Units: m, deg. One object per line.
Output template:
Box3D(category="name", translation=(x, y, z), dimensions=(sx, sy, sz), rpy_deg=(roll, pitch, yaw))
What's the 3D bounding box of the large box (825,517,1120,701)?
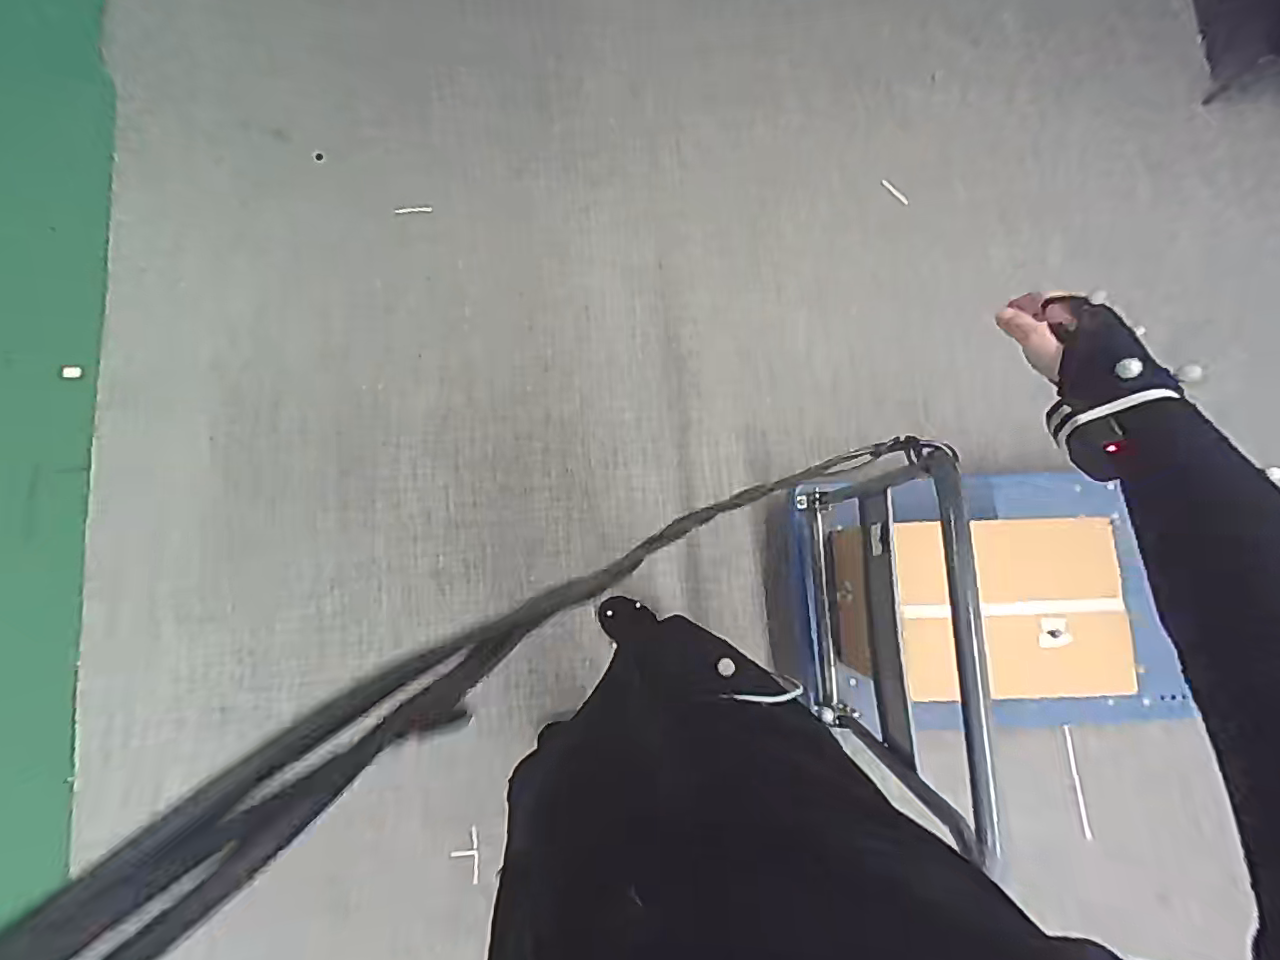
Box3D(category="large box", translation=(0.642, 0.250, 1.119), dimensions=(0.408, 0.320, 0.320), rpy_deg=(-1, 83, -1))
